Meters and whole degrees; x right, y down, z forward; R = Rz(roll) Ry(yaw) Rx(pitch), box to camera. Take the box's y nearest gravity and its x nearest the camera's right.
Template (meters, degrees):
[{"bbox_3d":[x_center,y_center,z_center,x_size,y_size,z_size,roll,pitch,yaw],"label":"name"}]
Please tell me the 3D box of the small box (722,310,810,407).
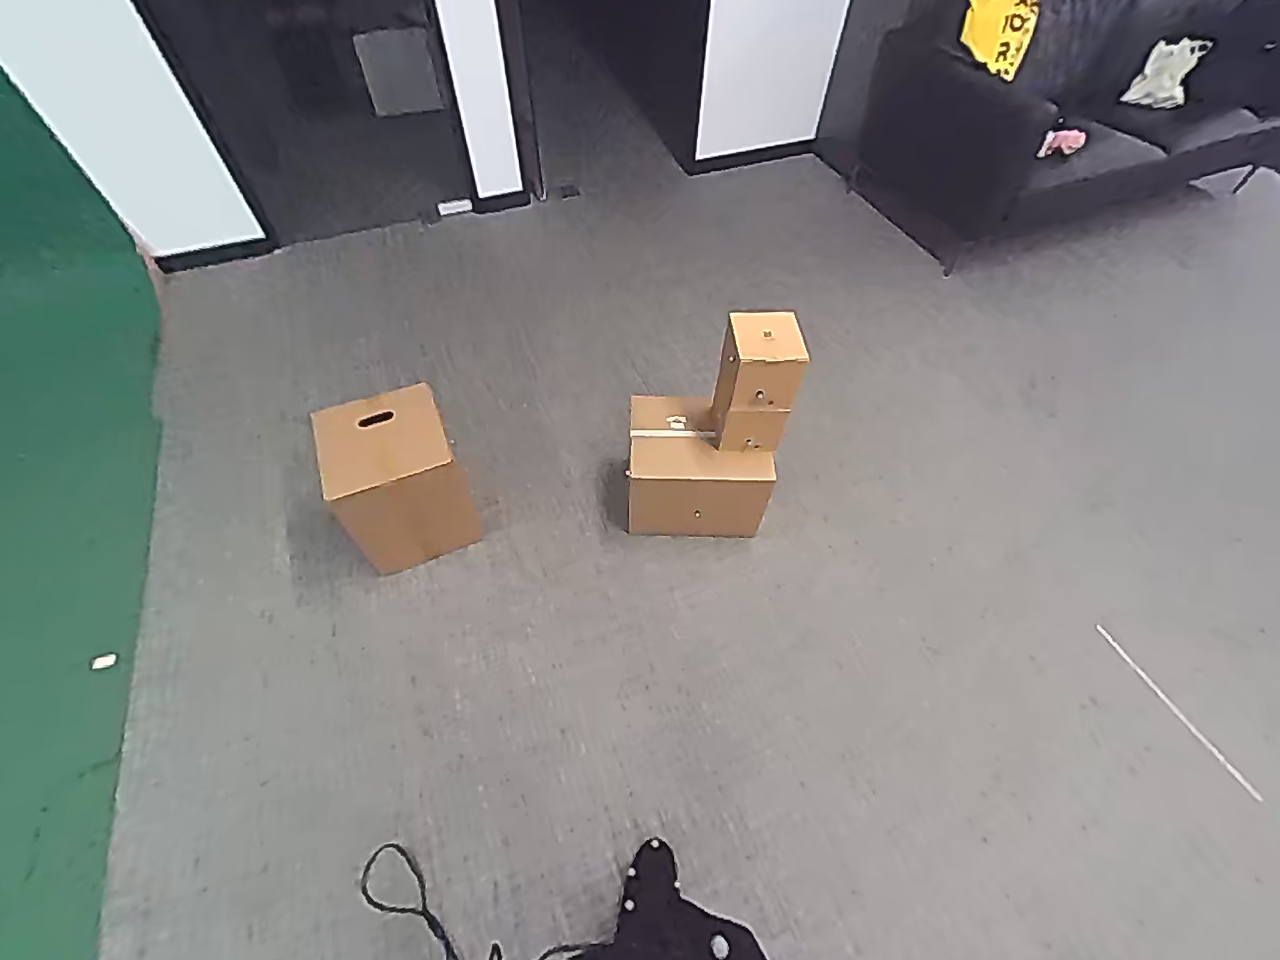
[{"bbox_3d":[0.307,-0.304,1.360,0.168,0.176,0.179,-1,55,-3],"label":"small box"}]
